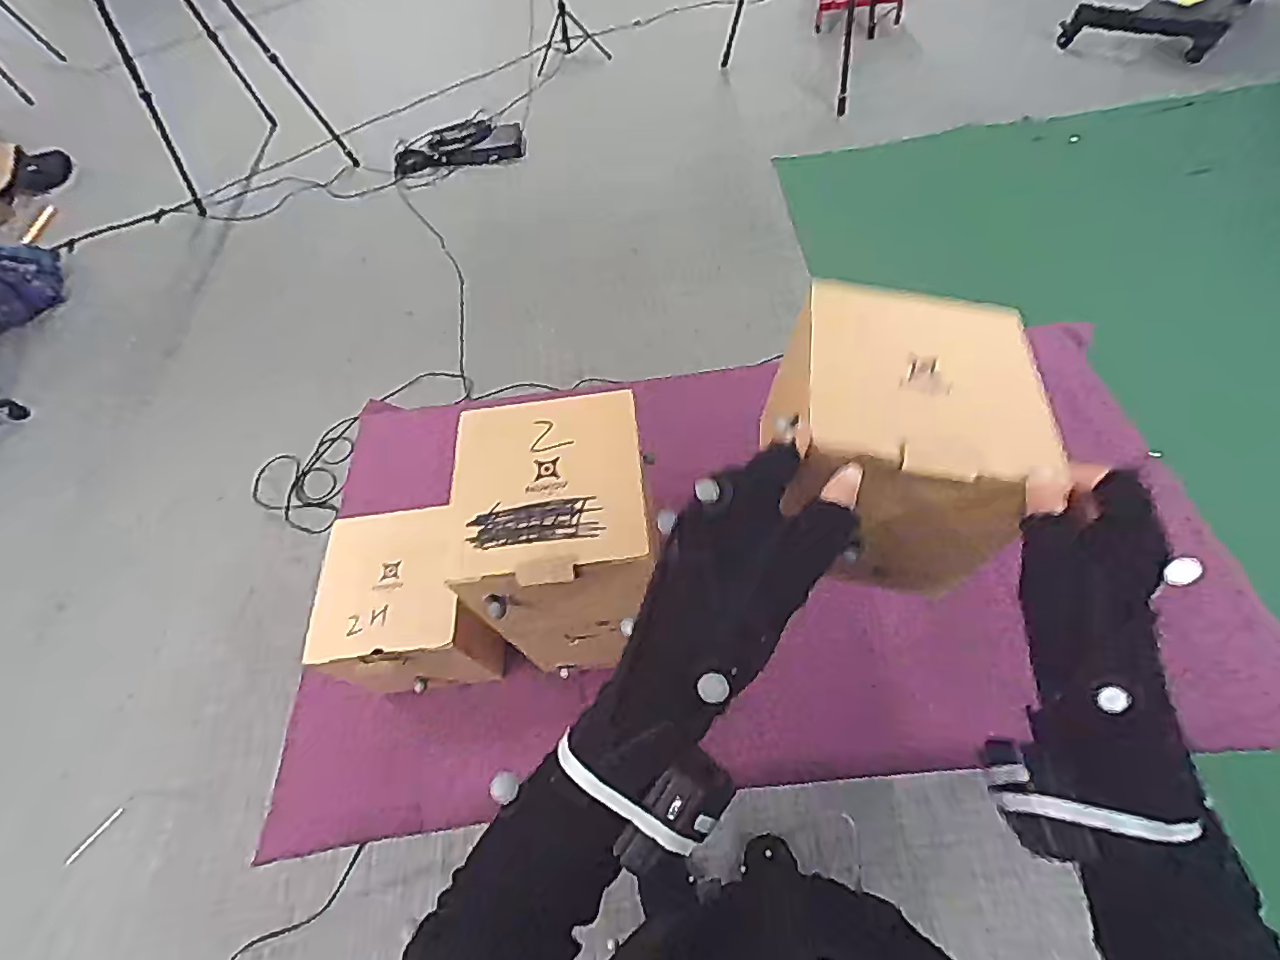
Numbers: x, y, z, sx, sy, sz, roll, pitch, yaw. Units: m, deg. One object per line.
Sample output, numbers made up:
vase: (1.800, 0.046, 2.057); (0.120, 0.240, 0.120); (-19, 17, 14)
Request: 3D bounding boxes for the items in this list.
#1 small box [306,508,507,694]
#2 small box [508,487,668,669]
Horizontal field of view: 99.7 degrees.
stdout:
small box: (-0.275, 0.157, 0.685); (0.168, 0.176, 0.179); (-7, 58, 2)
small box: (-0.056, 0.131, 0.677); (0.168, 0.176, 0.179); (-6, 57, 3)
